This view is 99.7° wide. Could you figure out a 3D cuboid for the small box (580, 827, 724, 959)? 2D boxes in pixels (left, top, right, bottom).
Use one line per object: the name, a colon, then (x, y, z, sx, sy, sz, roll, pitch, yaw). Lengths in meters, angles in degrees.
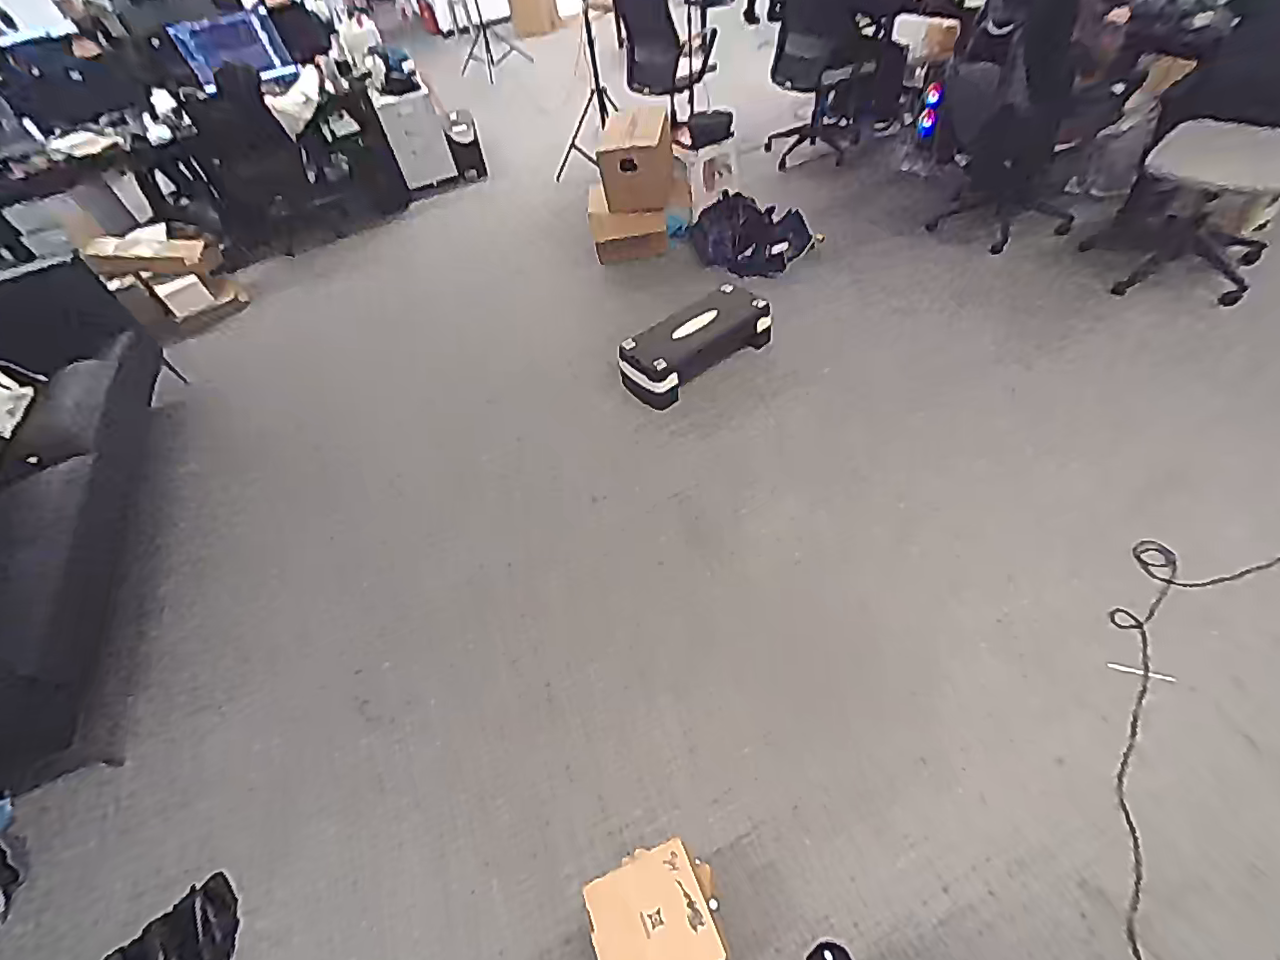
small box: (0.024, 0.703, 0.884, 0.179, 0.176, 0.168, -23, 51, -7)
